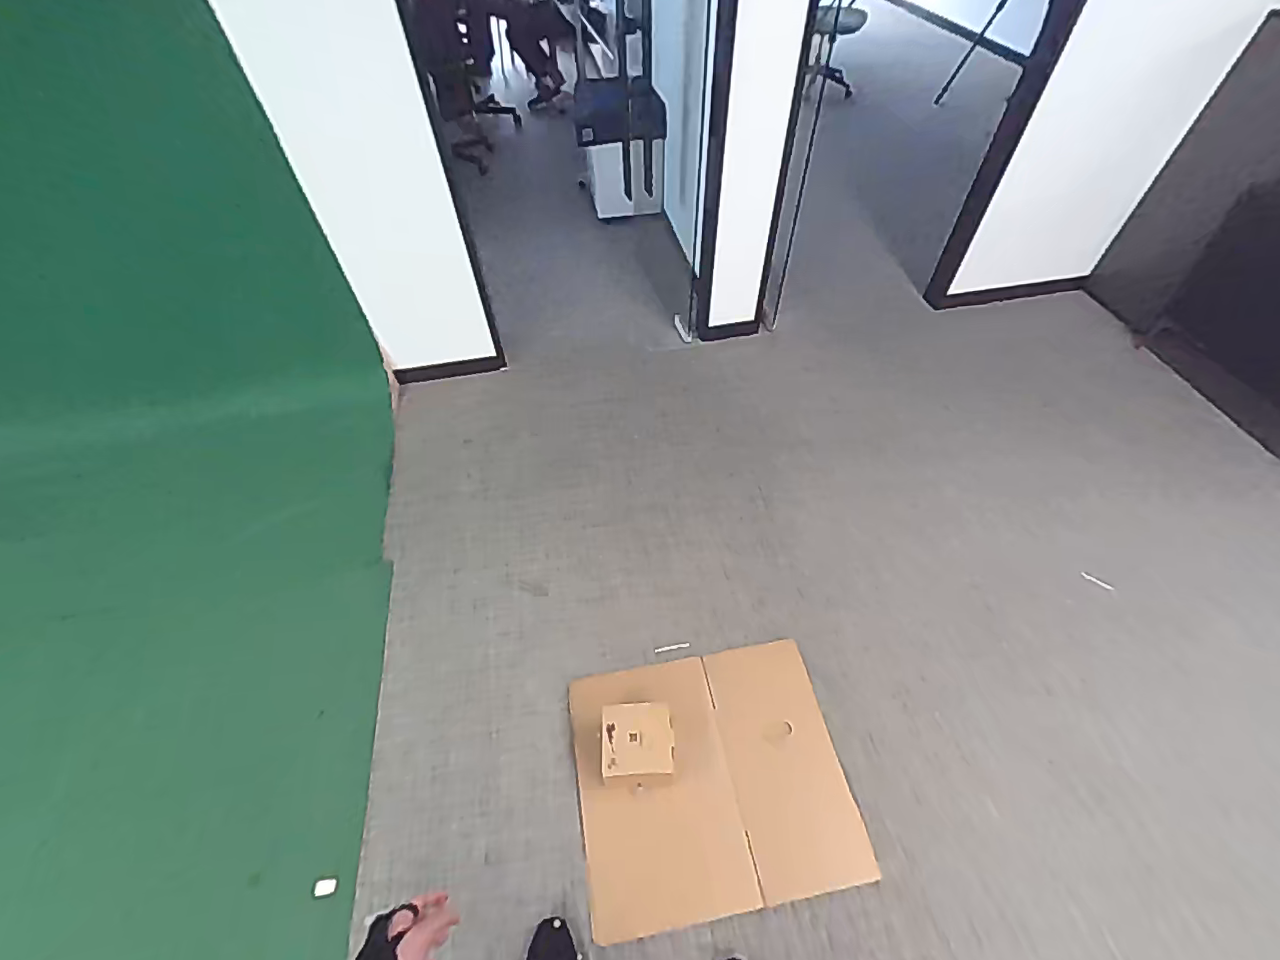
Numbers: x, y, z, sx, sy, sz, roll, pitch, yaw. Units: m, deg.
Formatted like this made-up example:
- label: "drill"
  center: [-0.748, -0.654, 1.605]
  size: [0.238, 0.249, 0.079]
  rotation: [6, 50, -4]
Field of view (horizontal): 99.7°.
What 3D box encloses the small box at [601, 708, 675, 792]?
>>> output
- label: "small box"
  center: [-0.007, 0.698, 1.393]
  size: [0.179, 0.176, 0.168]
  rotation: [-2, 51, -1]
